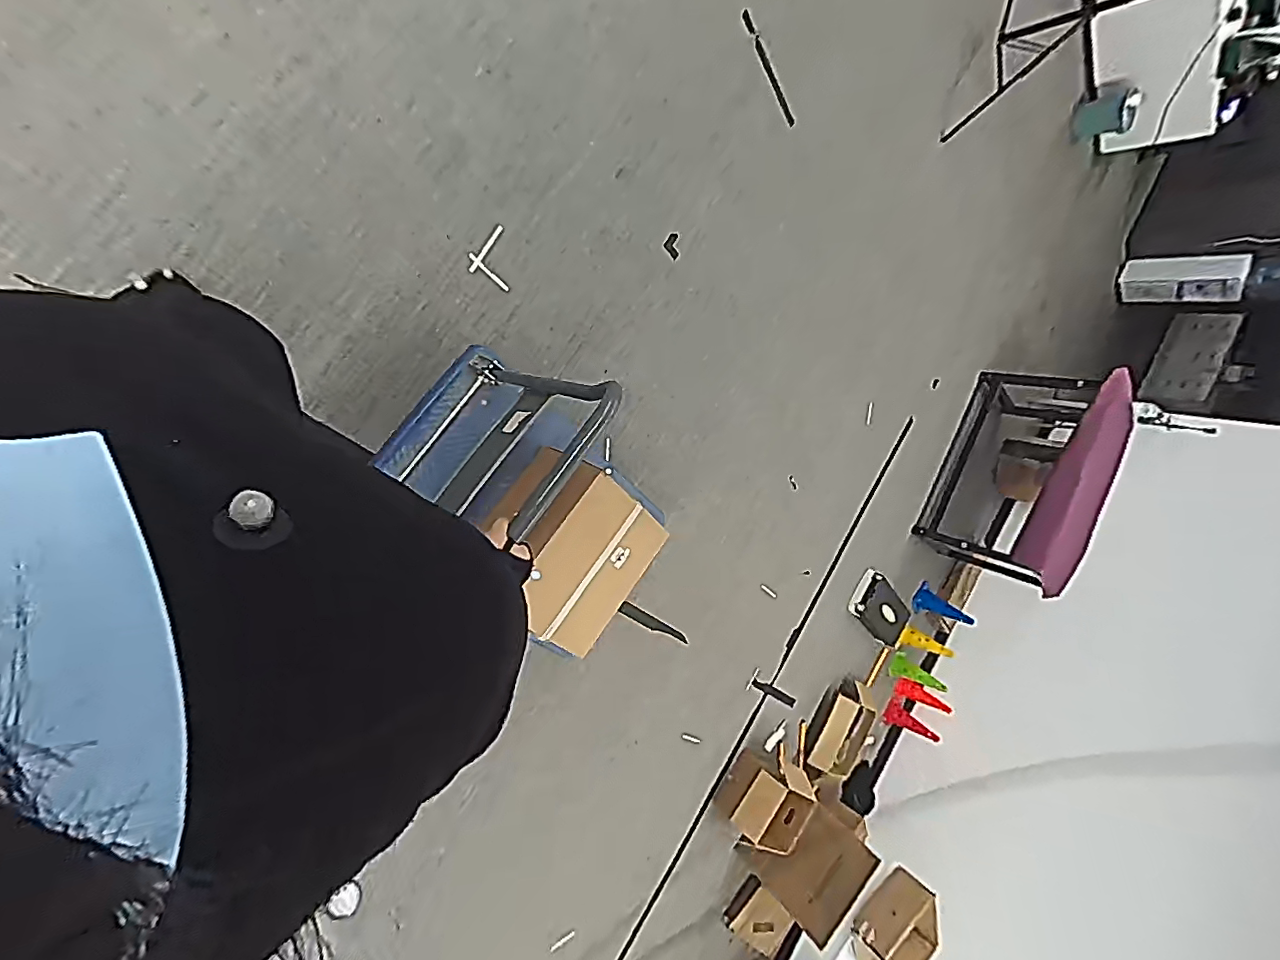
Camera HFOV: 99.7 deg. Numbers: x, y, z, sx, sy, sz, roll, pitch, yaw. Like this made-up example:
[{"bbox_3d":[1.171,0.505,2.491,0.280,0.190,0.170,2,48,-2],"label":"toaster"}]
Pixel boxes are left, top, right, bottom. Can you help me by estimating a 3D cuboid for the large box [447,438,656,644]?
[{"bbox_3d":[-0.238,0.154,1.456,0.408,0.320,0.320,-55,131,-13],"label":"large box"}]
